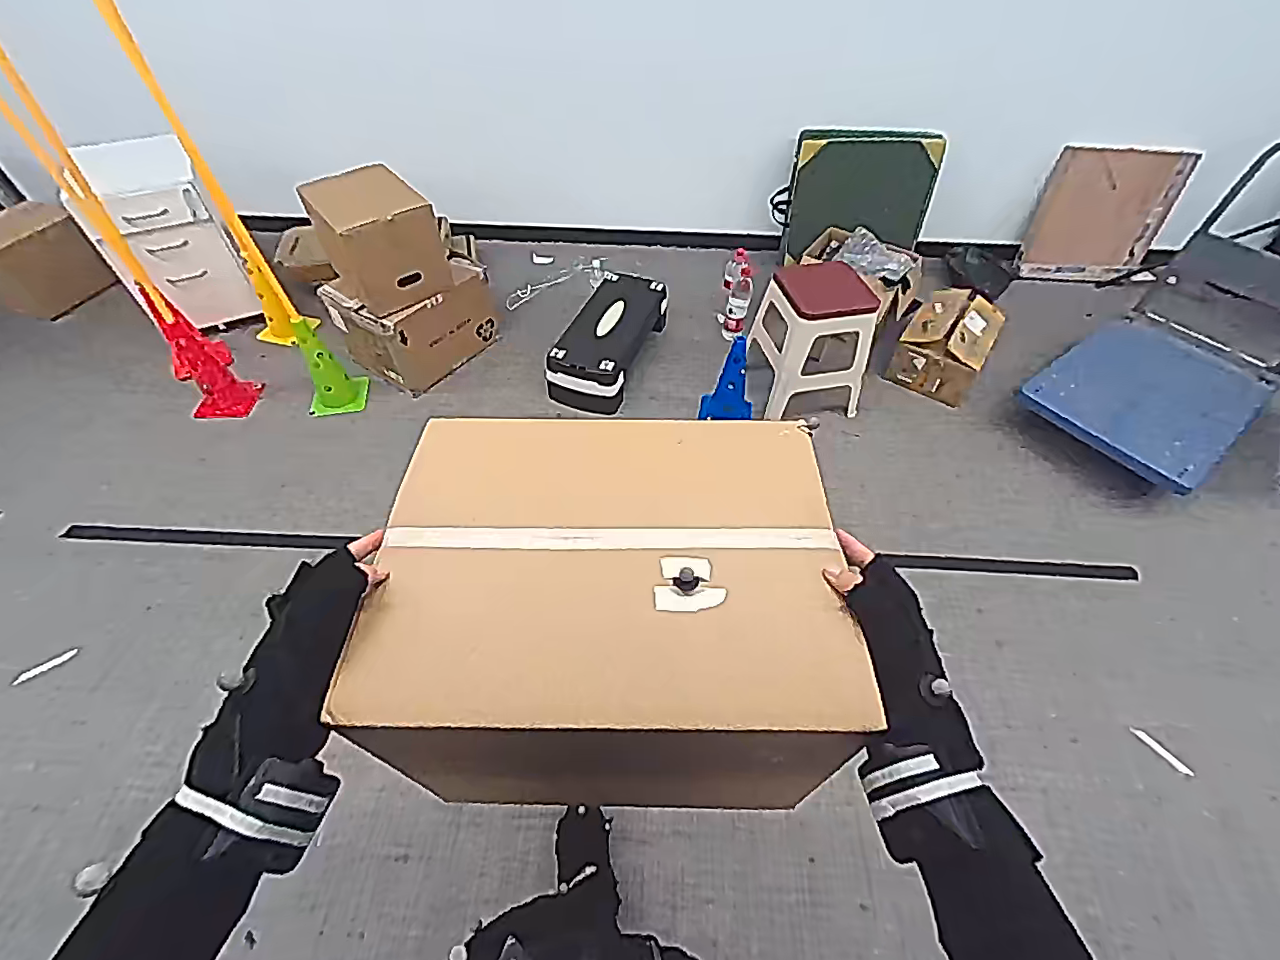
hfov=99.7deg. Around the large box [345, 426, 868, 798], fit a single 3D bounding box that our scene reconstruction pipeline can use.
[{"bbox_3d":[-0.026,0.153,0.613,0.408,0.320,0.320,1,50,0],"label":"large box"}]
